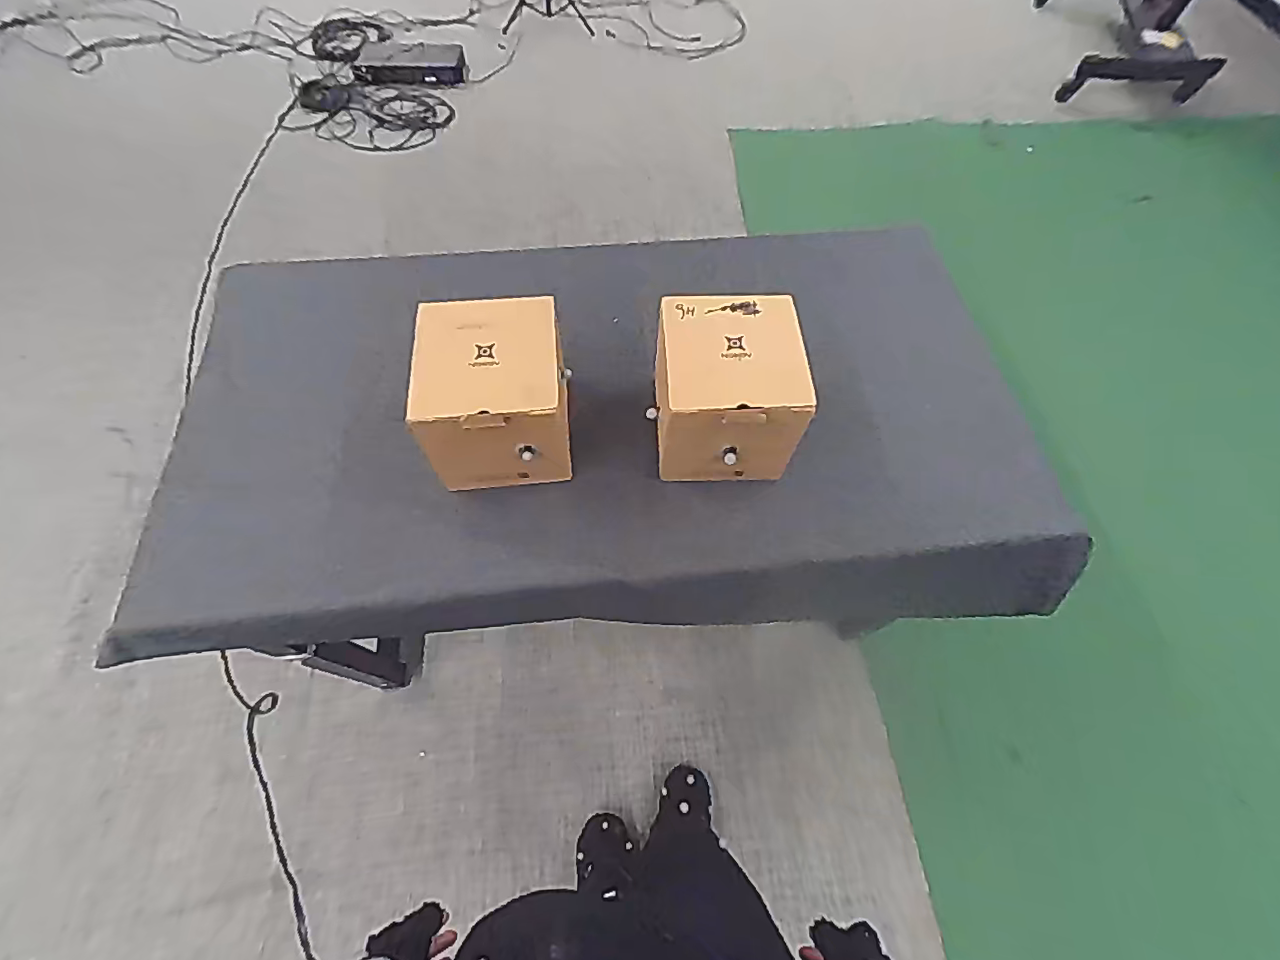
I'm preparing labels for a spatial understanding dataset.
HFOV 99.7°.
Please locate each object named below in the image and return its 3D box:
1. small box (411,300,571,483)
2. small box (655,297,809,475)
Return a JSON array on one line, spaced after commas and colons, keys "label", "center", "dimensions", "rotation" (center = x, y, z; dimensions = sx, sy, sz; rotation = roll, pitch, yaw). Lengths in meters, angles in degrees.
[{"label": "small box", "center": [-0.181, -0.105, 0.702], "dimensions": [0.168, 0.176, 0.179], "rotation": [-5, 61, -6]}, {"label": "small box", "center": [0.107, -0.115, 0.713], "dimensions": [0.168, 0.176, 0.179], "rotation": [-1, 63, -3]}]
